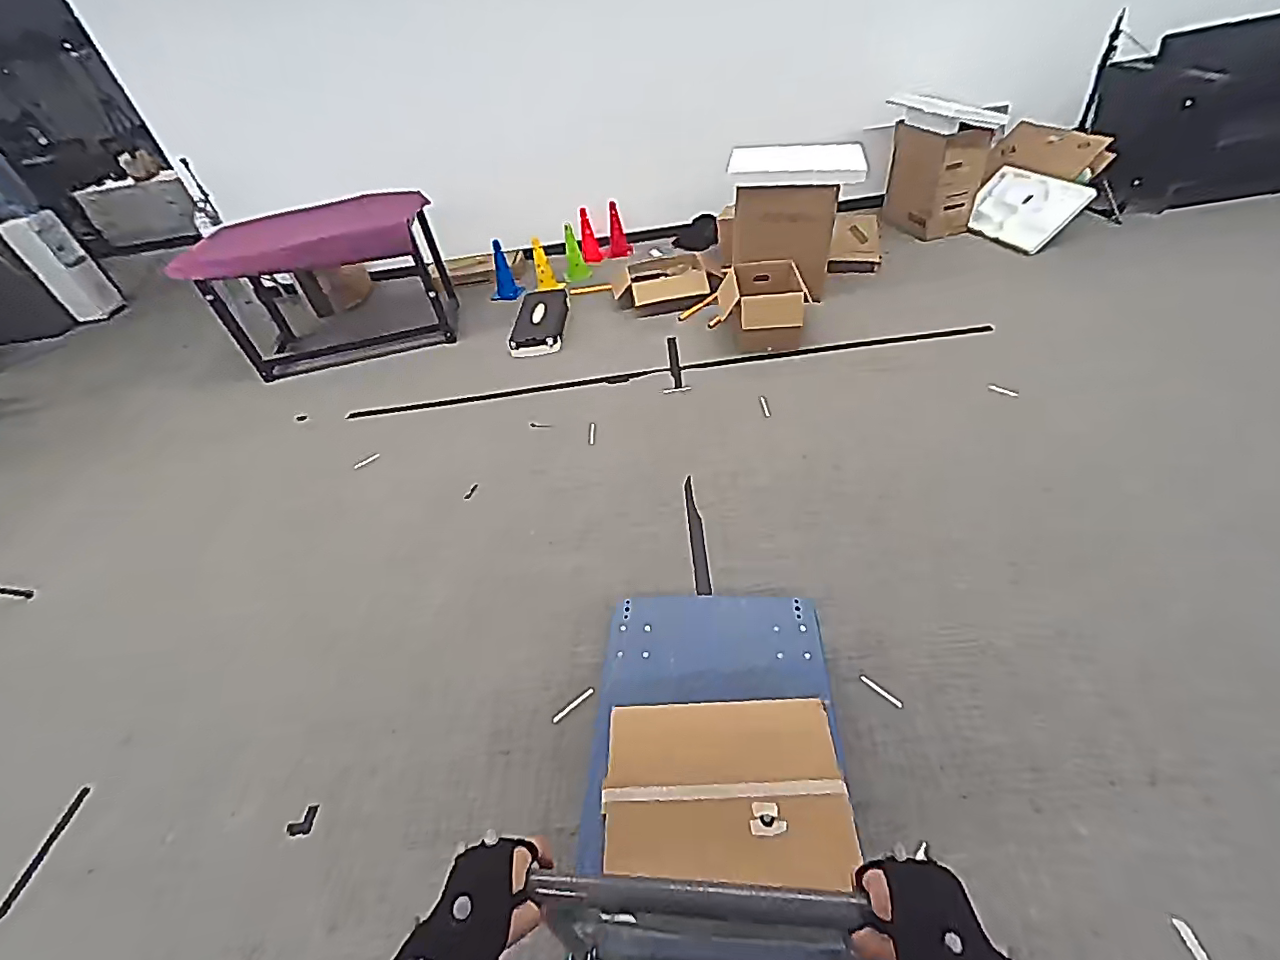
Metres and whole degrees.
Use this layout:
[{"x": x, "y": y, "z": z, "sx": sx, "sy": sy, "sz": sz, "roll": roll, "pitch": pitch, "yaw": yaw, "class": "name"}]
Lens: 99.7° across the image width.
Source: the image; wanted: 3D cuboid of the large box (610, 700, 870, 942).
[{"x": 0.162, "y": 0.647, "z": 1.026, "sx": 0.408, "sy": 0.320, "sz": 0.320, "roll": -4, "pitch": 43, "yaw": 4, "class": "large box"}]
